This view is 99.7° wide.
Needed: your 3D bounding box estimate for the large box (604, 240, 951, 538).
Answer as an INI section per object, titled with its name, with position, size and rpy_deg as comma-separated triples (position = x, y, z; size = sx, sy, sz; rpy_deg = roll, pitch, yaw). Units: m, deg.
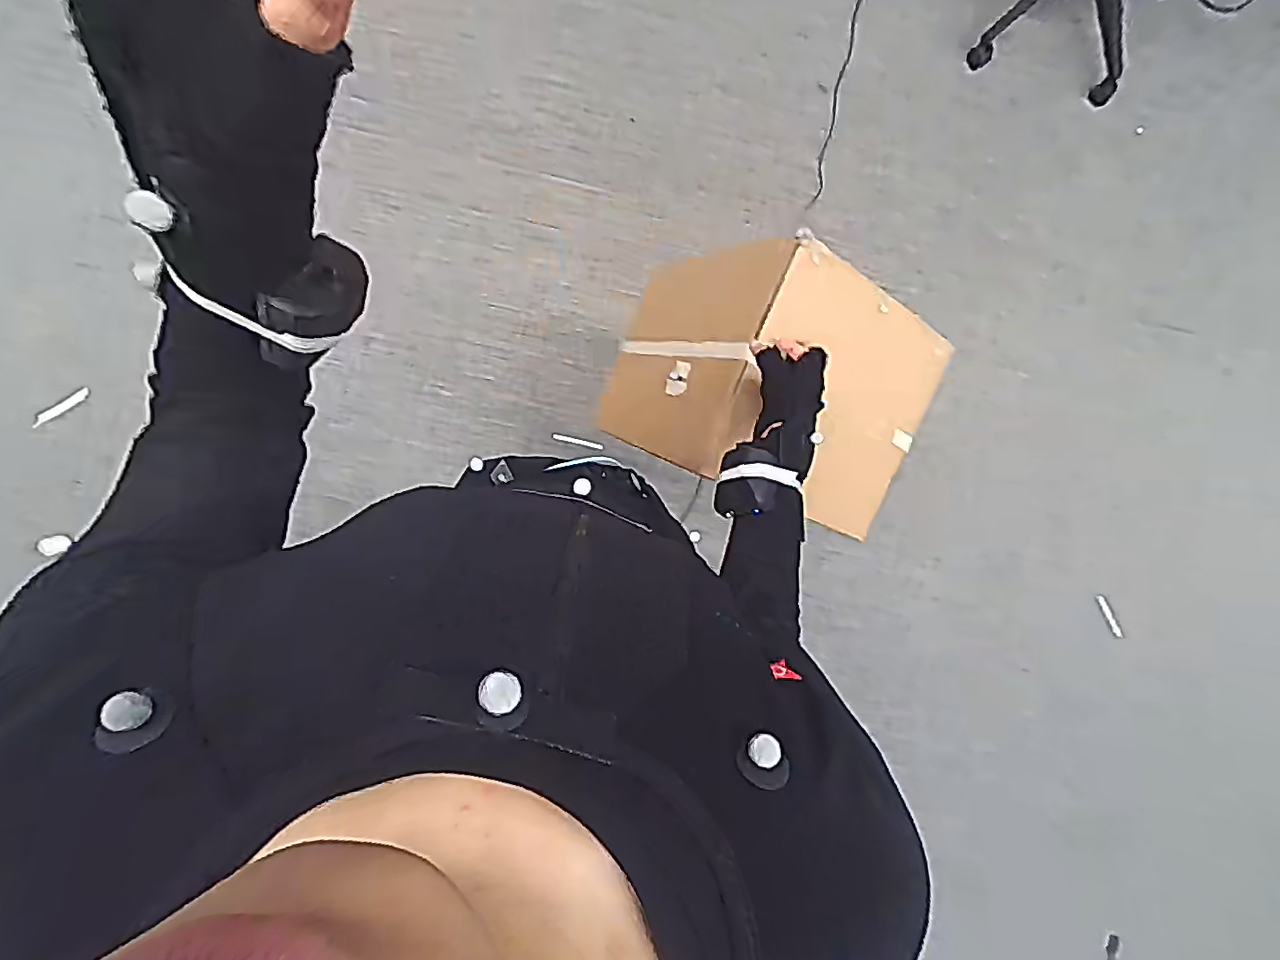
[large box]
position = 0.193, -0.144, 0.897
size = 0.320, 0.408, 0.320
rpy_deg = 21, 95, -26
